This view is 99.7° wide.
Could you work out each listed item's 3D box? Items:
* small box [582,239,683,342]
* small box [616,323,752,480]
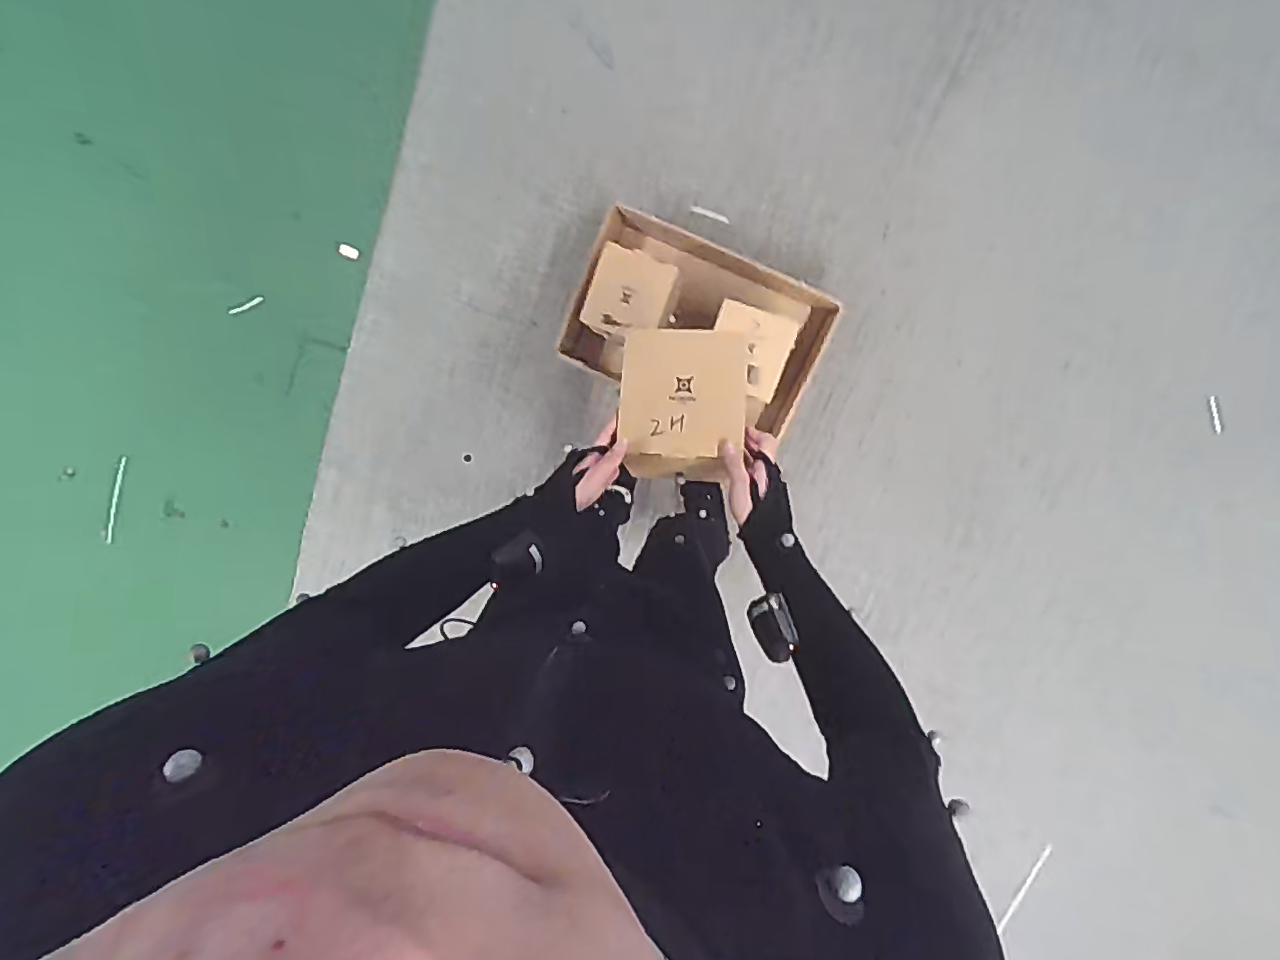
[{"bbox_3d":[-0.010,-0.403,1.210,0.168,0.176,0.179,23,99,4],"label":"small box"},{"bbox_3d":[0.065,-0.104,0.765,0.168,0.176,0.179,3,81,8],"label":"small box"}]
